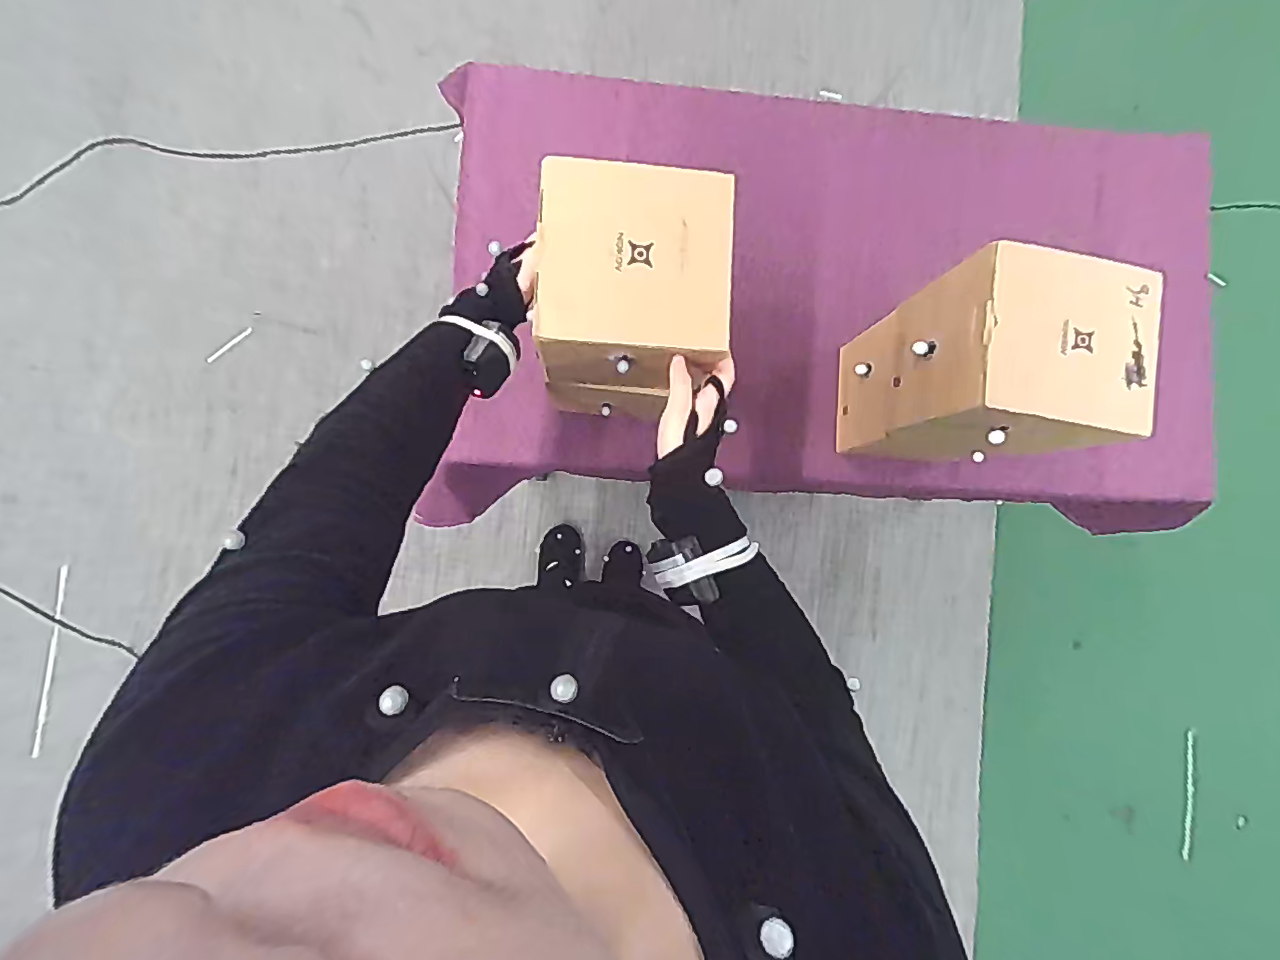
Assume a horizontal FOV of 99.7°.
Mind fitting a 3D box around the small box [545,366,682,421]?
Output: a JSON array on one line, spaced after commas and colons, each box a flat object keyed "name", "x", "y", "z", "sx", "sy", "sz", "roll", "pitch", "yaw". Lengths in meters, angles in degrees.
[{"name": "small box", "x": -0.028, "y": -0.181, "z": 0.720, "sx": 0.168, "sy": 0.176, "sz": 0.179, "roll": 6, "pitch": 86, "yaw": -5}]

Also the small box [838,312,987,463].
[{"name": "small box", "x": 0.393, "y": -0.116, "z": 0.752, "sx": 0.179, "sy": 0.176, "sz": 0.168, "roll": 5, "pitch": 86, "yaw": -5}]

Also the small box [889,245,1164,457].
[{"name": "small box", "x": 0.400, "y": -0.124, "z": 0.587, "sx": 0.179, "sy": 0.176, "sz": 0.168, "roll": 10, "pitch": 86, "yaw": -4}]

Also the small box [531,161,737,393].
[{"name": "small box", "x": -0.010, "y": -0.191, "z": 0.557, "sx": 0.179, "sy": 0.176, "sz": 0.168, "roll": 4, "pitch": 87, "yaw": -5}]
